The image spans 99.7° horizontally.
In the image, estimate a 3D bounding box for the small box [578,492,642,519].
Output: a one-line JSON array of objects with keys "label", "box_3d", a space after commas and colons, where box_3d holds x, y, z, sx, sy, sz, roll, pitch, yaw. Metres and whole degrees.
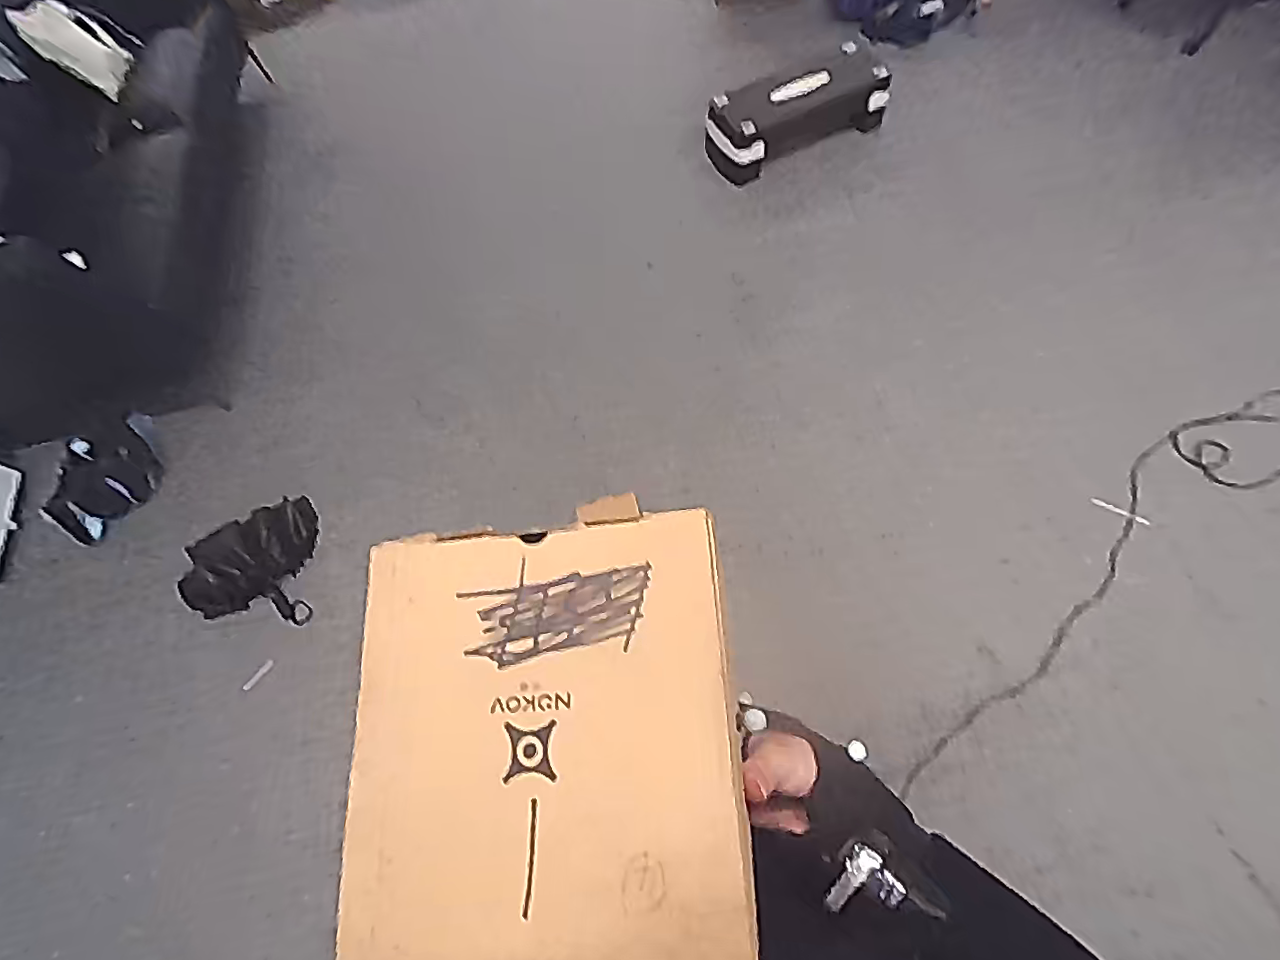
[{"label": "small box", "box_3d": [-0.062, 0.161, 1.505, 0.168, 0.176, 0.179, -17, 65, 1]}]

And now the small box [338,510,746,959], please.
[{"label": "small box", "box_3d": [-0.032, 0.128, 0.309, 0.168, 0.176, 0.179, -7, 71, 9]}]
